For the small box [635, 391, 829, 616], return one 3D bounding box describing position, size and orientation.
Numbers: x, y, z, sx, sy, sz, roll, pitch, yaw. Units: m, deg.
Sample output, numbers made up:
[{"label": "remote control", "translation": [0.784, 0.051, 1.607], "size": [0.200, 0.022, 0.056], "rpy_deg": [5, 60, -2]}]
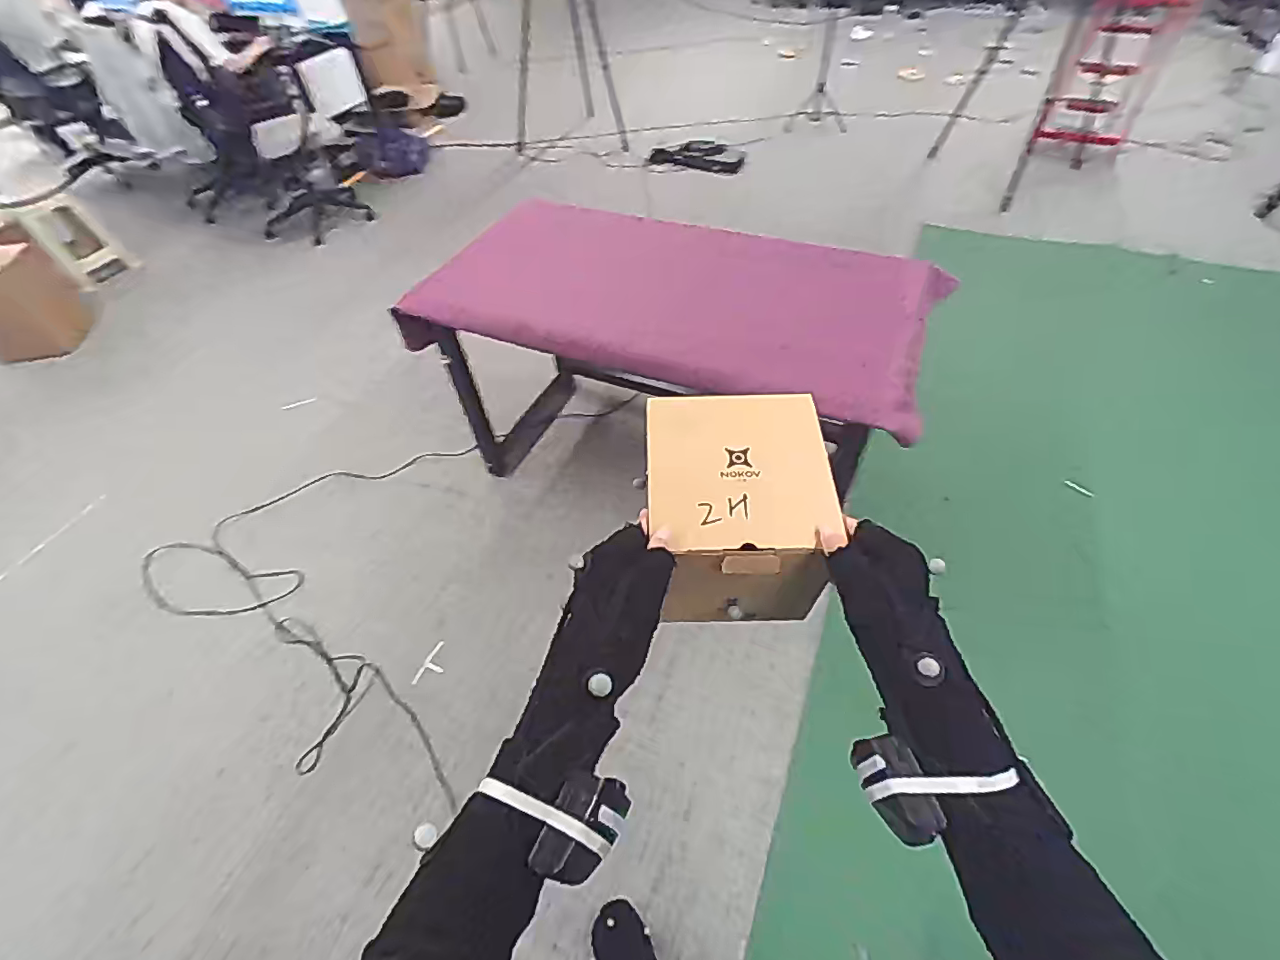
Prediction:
[{"label": "small box", "translation": [0.079, 0.028, 0.564], "size": [0.168, 0.176, 0.179], "rpy_deg": [-2, 57, 2]}]
